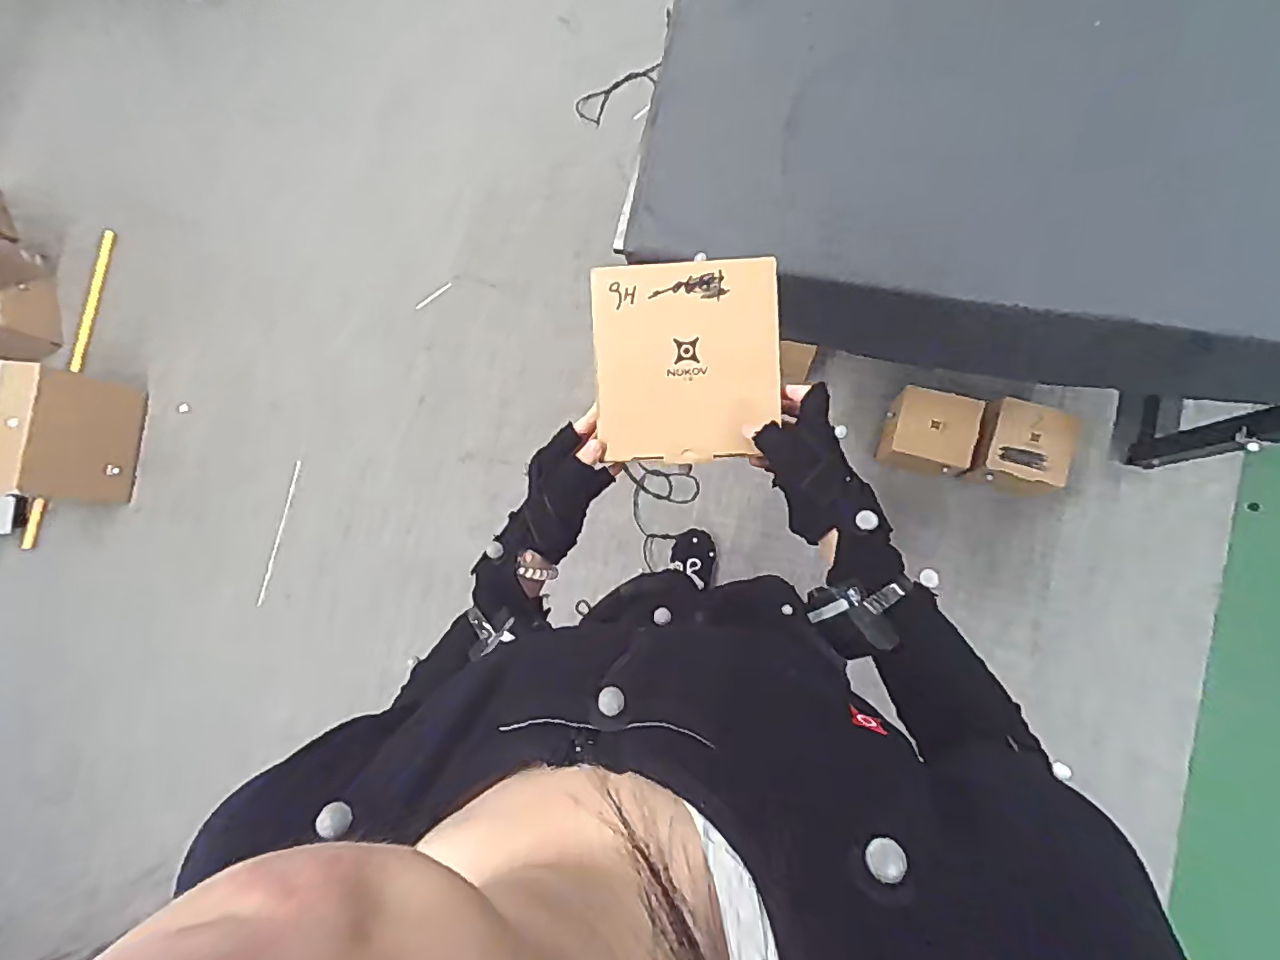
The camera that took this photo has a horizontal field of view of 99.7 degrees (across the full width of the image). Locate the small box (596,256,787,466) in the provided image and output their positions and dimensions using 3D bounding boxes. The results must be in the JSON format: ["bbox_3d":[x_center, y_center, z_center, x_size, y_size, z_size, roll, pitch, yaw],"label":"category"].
[{"bbox_3d":[0.050,-0.107,0.548,0.168,0.176,0.179,-2,93,3],"label":"small box"}]

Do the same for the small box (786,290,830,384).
[{"bbox_3d":[0.380,-0.378,1.427,0.168,0.176,0.179,21,86,14],"label":"small box"}]
